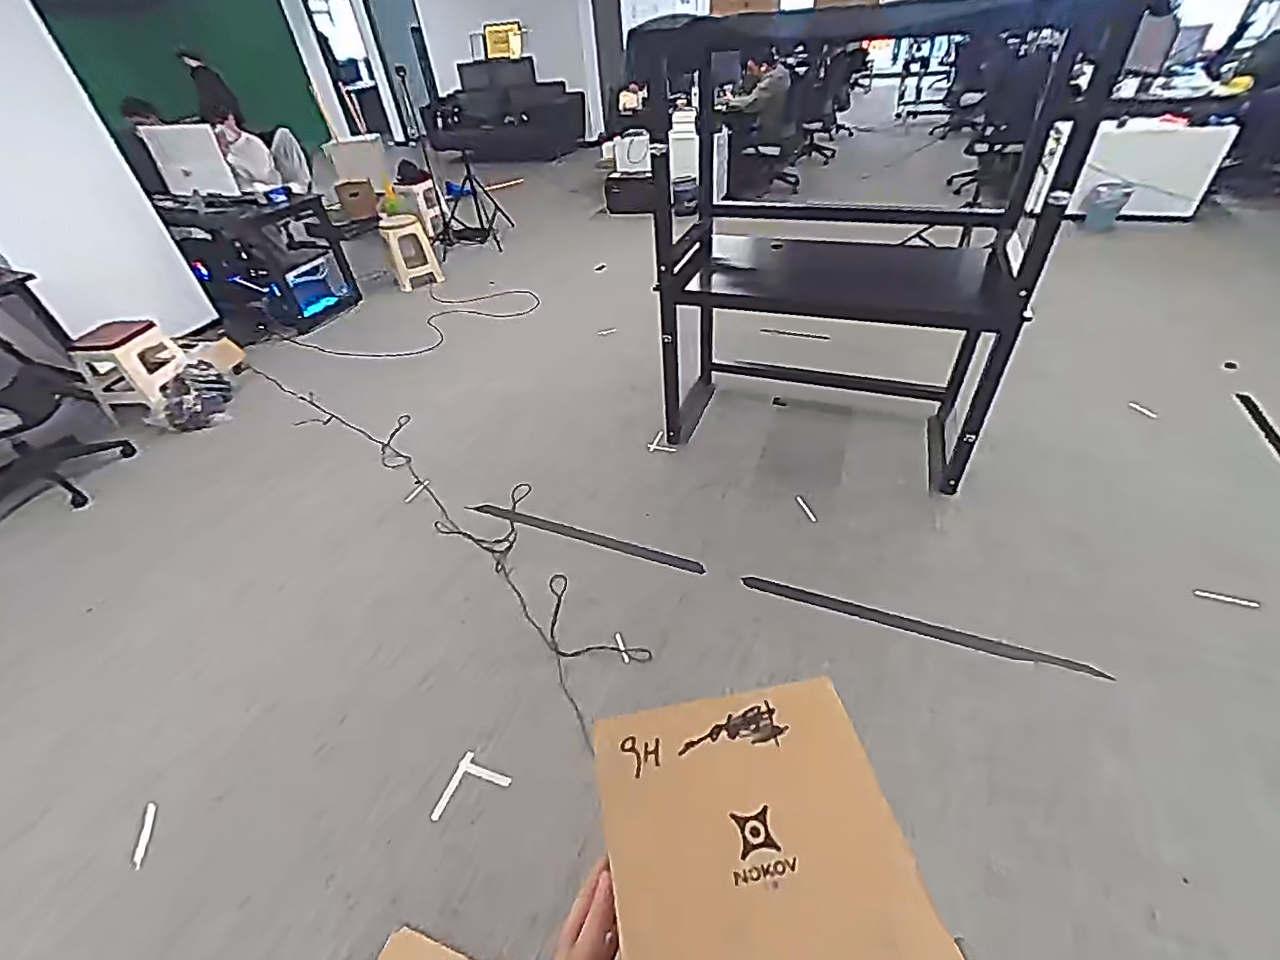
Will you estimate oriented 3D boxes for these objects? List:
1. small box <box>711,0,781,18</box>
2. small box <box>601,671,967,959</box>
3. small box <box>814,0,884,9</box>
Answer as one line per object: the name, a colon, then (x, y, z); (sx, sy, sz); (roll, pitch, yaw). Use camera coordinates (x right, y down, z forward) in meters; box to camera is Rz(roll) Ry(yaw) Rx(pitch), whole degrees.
small box: (0.292, -1.360, 1.457); (0.168, 0.176, 0.179); (12, 42, 18)
small box: (0.069, 0.253, 0.353); (0.168, 0.176, 0.179); (-7, 47, -8)
small box: (0.544, -1.308, 1.365); (0.168, 0.176, 0.179); (12, 42, 20)
